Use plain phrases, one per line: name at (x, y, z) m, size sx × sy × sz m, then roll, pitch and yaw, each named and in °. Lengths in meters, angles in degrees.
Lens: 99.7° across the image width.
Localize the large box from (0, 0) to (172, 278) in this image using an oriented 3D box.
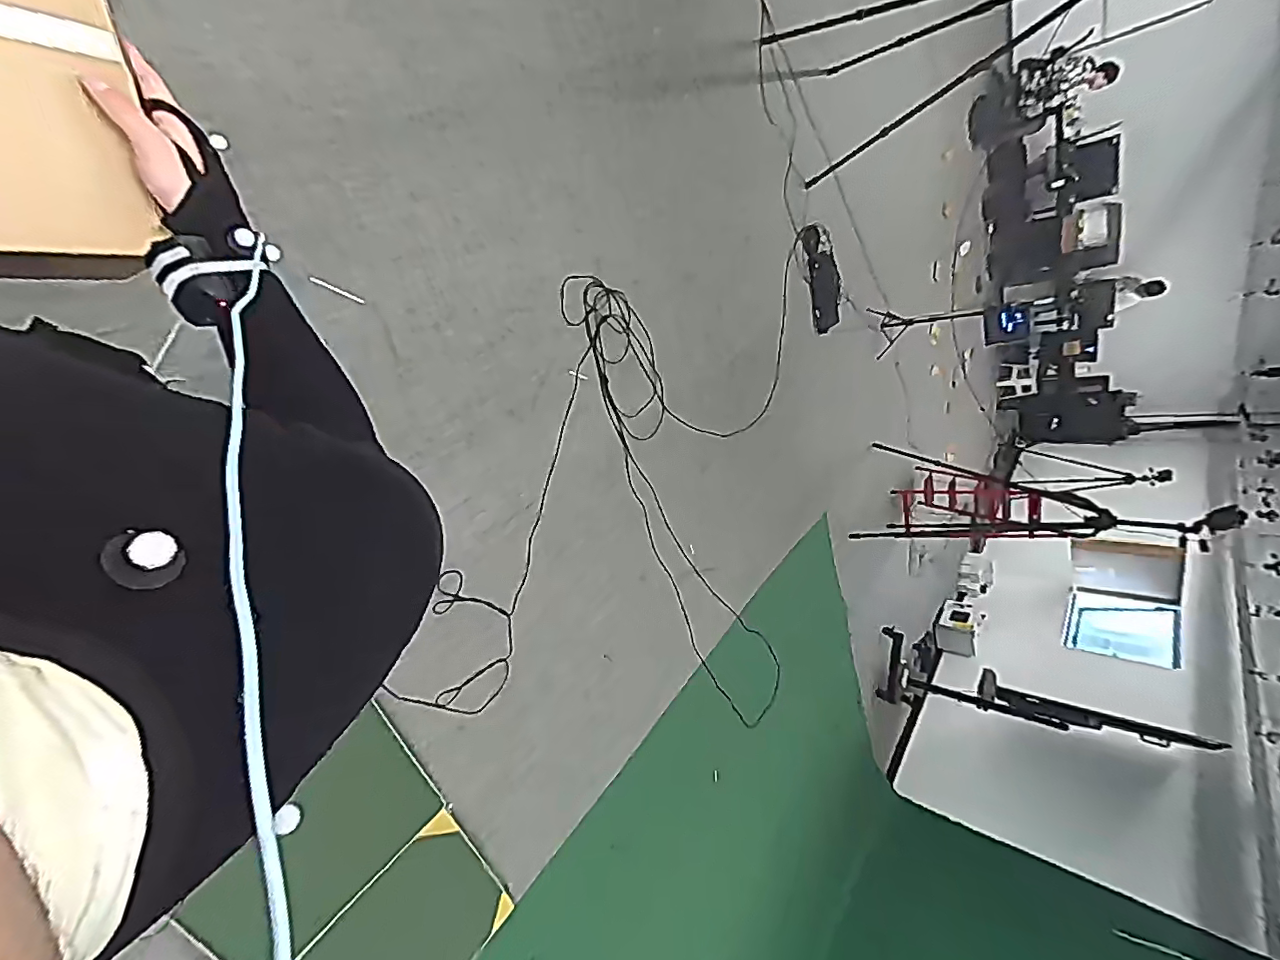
large box at (-0.683, -0.326, 0.409) m, size 0.408 × 0.320 × 0.320 m, roll -22°, pitch 116°, yaw -45°
